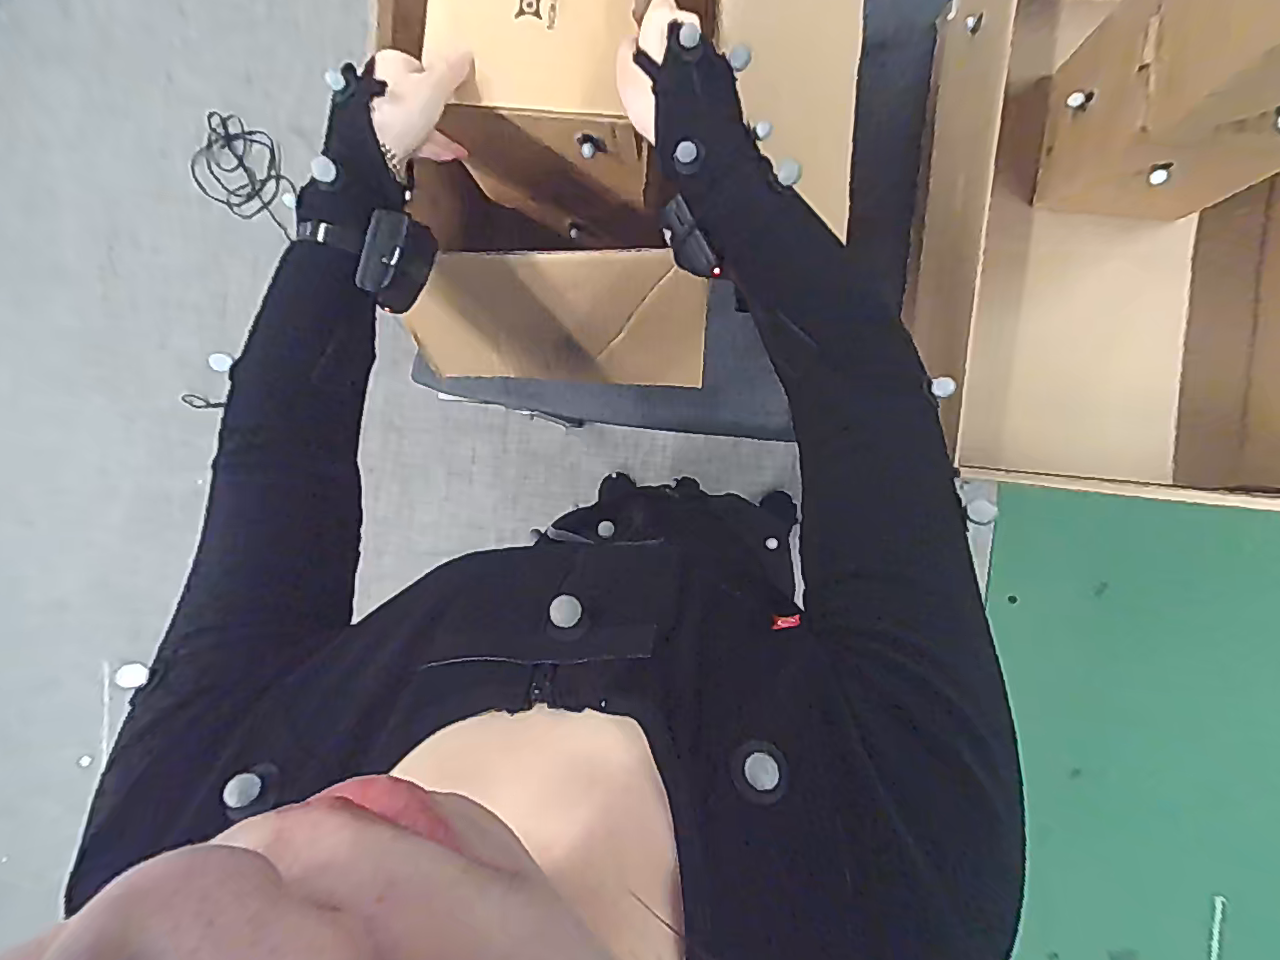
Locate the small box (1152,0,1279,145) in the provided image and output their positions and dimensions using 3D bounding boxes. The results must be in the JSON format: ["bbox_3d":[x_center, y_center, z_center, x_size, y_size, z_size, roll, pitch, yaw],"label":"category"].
[{"bbox_3d":[0.555,-0.396,0.415,0.168,0.176,0.179,7,94,5],"label":"small box"}]
